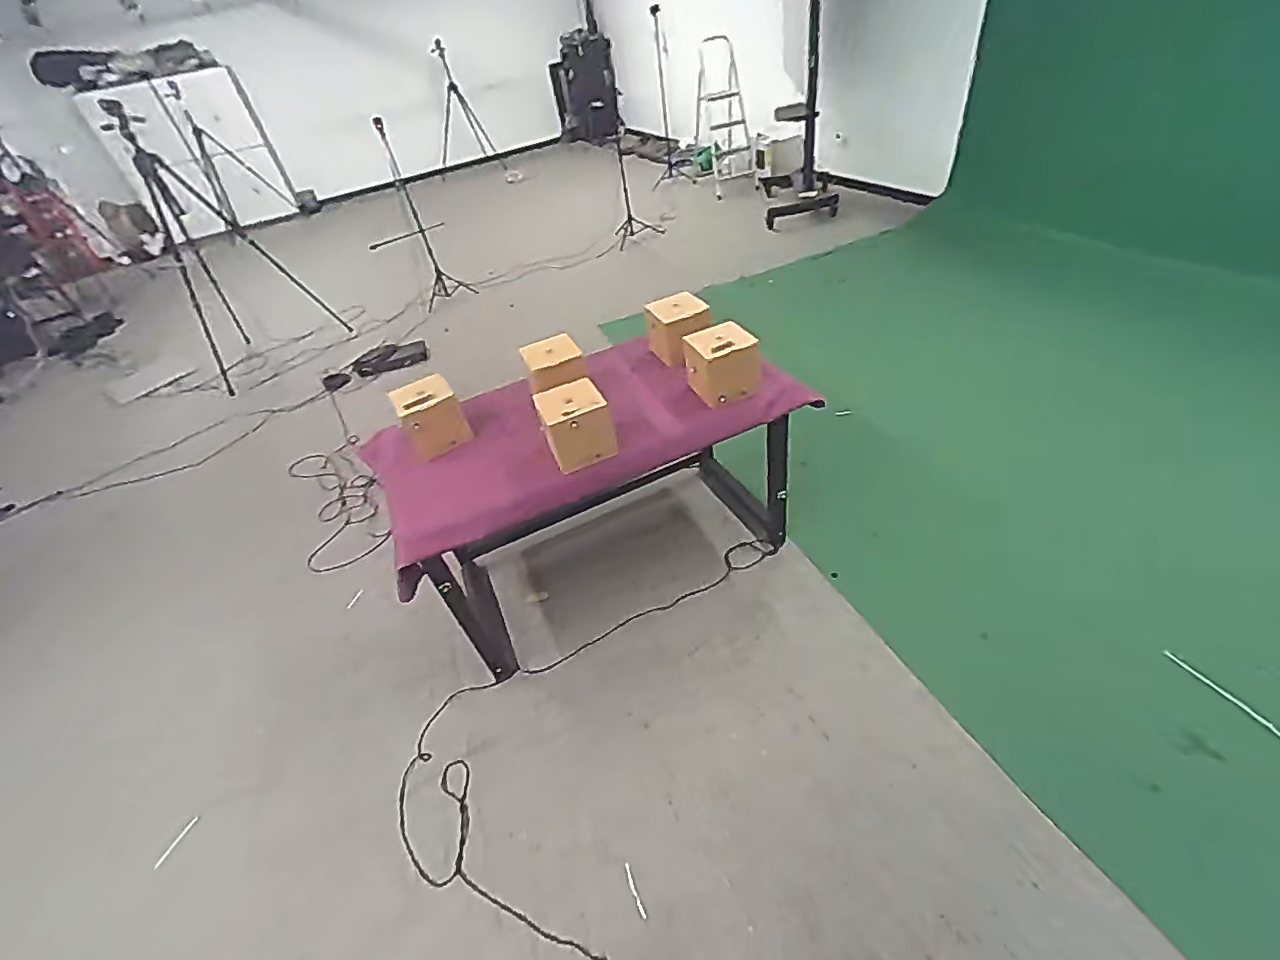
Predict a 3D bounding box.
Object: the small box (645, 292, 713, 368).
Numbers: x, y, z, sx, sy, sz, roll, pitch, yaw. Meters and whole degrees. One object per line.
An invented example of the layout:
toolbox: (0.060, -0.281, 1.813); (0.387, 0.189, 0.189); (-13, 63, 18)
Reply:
small box: (0.133, -0.502, 1.814); (0.168, 0.176, 0.179); (-23, 43, -11)

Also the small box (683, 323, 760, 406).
small box: (0.244, -0.337, 1.601); (0.168, 0.176, 0.179); (-20, 40, -9)

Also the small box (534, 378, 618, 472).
small box: (-0.175, -0.150, 1.487); (0.168, 0.176, 0.179); (-22, 40, -11)

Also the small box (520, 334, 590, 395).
small box: (-0.265, -0.337, 1.722); (0.168, 0.176, 0.179); (-22, 43, -13)
